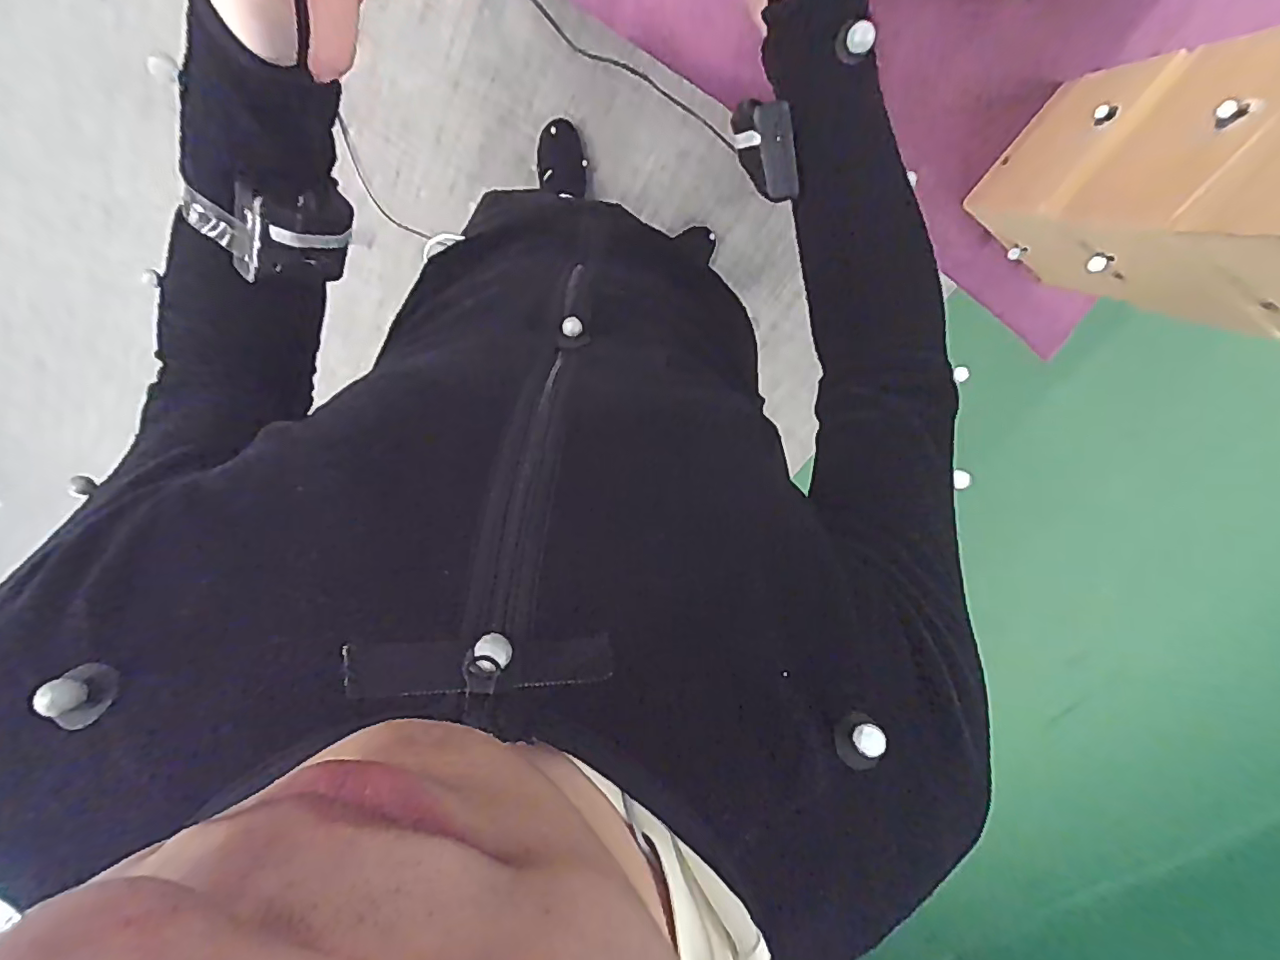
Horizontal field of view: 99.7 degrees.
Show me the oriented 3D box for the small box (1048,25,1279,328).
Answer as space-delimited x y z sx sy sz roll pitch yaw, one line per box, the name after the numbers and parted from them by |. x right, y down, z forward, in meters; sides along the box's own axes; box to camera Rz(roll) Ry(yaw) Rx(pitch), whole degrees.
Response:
0.535 -0.272 0.489 0.168 0.176 0.179 31 115 -14 | small box

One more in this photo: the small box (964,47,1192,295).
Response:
0.535 -0.350 0.632 0.179 0.176 0.168 31 115 -15 | small box
